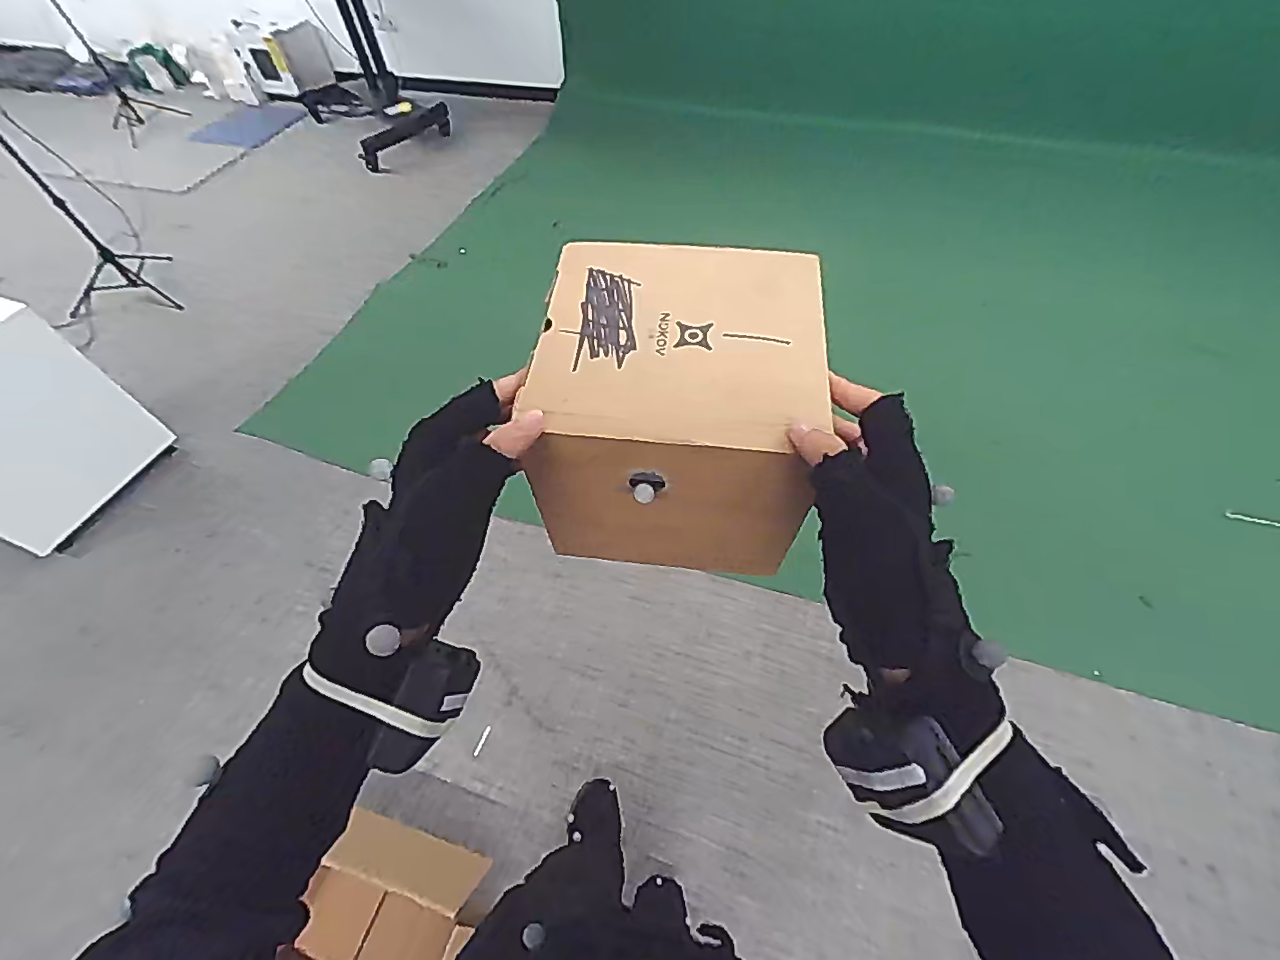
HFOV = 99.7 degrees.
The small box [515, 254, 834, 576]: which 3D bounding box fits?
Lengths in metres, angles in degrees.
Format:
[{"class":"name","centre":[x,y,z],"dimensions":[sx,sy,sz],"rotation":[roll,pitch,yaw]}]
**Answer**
[{"class":"small box","centre":[0.028,-0.040,0.398],"dimensions":[0.179,0.176,0.168],"rotation":[5,58,4]}]
